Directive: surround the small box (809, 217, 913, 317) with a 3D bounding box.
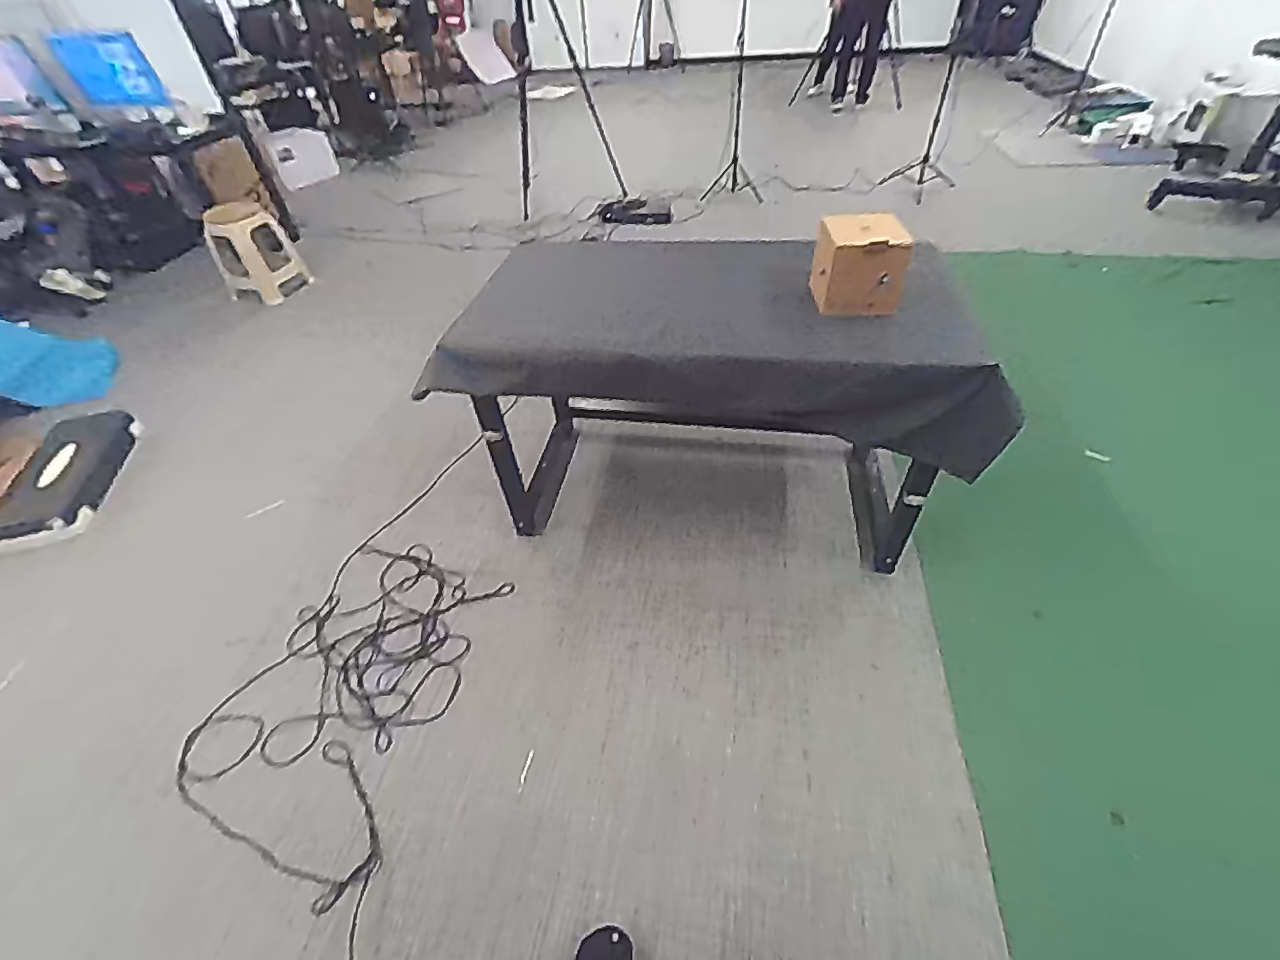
[{"bbox_3d":[0.499,-0.489,1.247,0.168,0.176,0.179,0,43,3],"label":"small box"}]
